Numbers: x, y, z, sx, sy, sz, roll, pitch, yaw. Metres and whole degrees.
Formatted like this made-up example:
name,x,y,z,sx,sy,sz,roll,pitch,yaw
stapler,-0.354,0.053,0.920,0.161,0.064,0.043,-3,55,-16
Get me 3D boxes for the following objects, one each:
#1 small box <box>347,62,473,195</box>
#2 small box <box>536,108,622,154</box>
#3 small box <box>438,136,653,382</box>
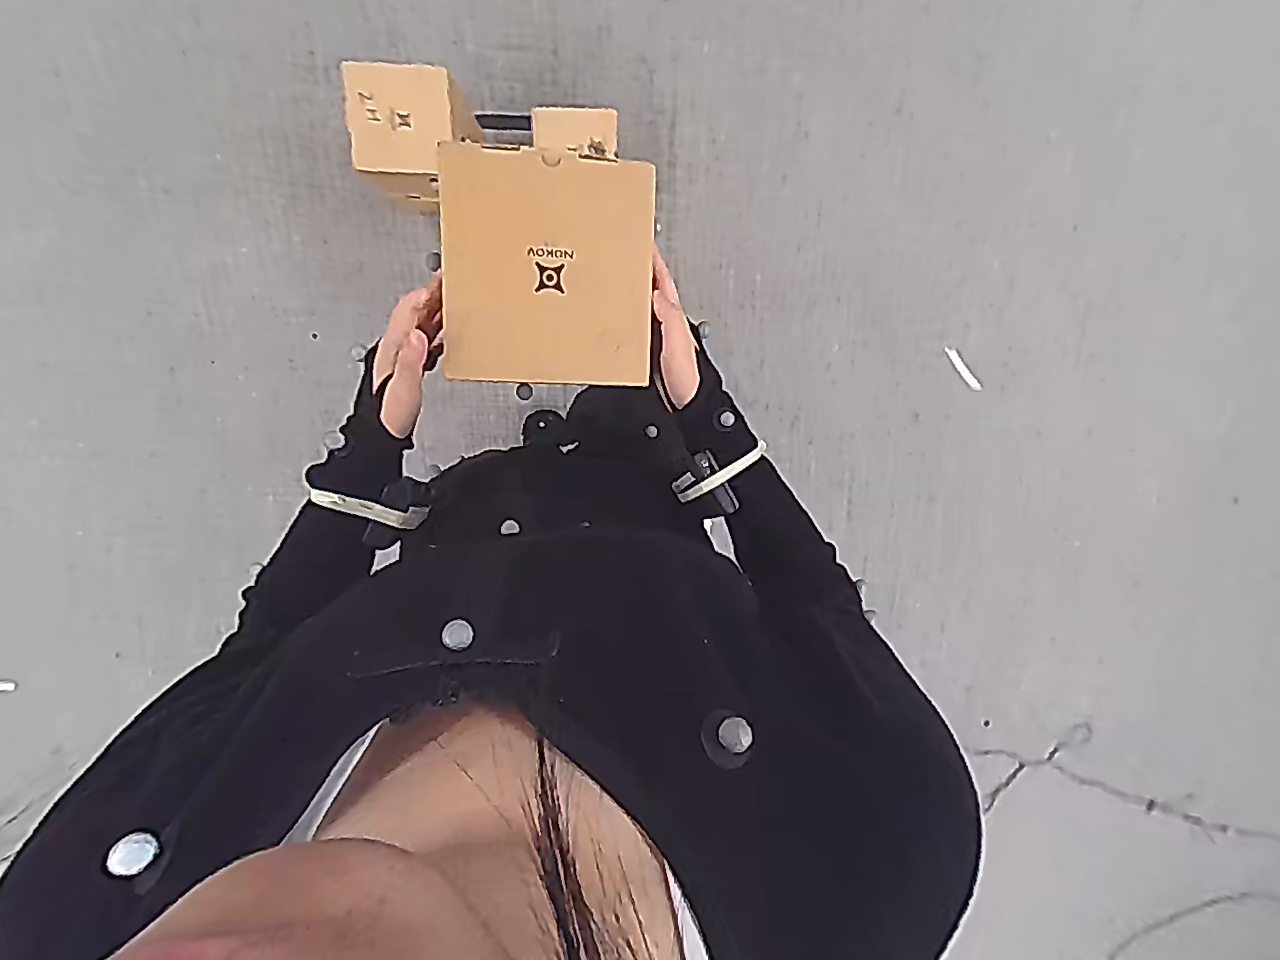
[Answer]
name,x,y,z,sx,sy,sz,roll,pitch,yaw
small box,-0.410,-0.639,1.004,0.179,0.176,0.168,0,106,-4
small box,-0.130,-0.689,1.185,0.179,0.176,0.168,0,107,-3
small box,-0.086,-0.182,0.503,0.168,0.176,0.179,0,99,-11
